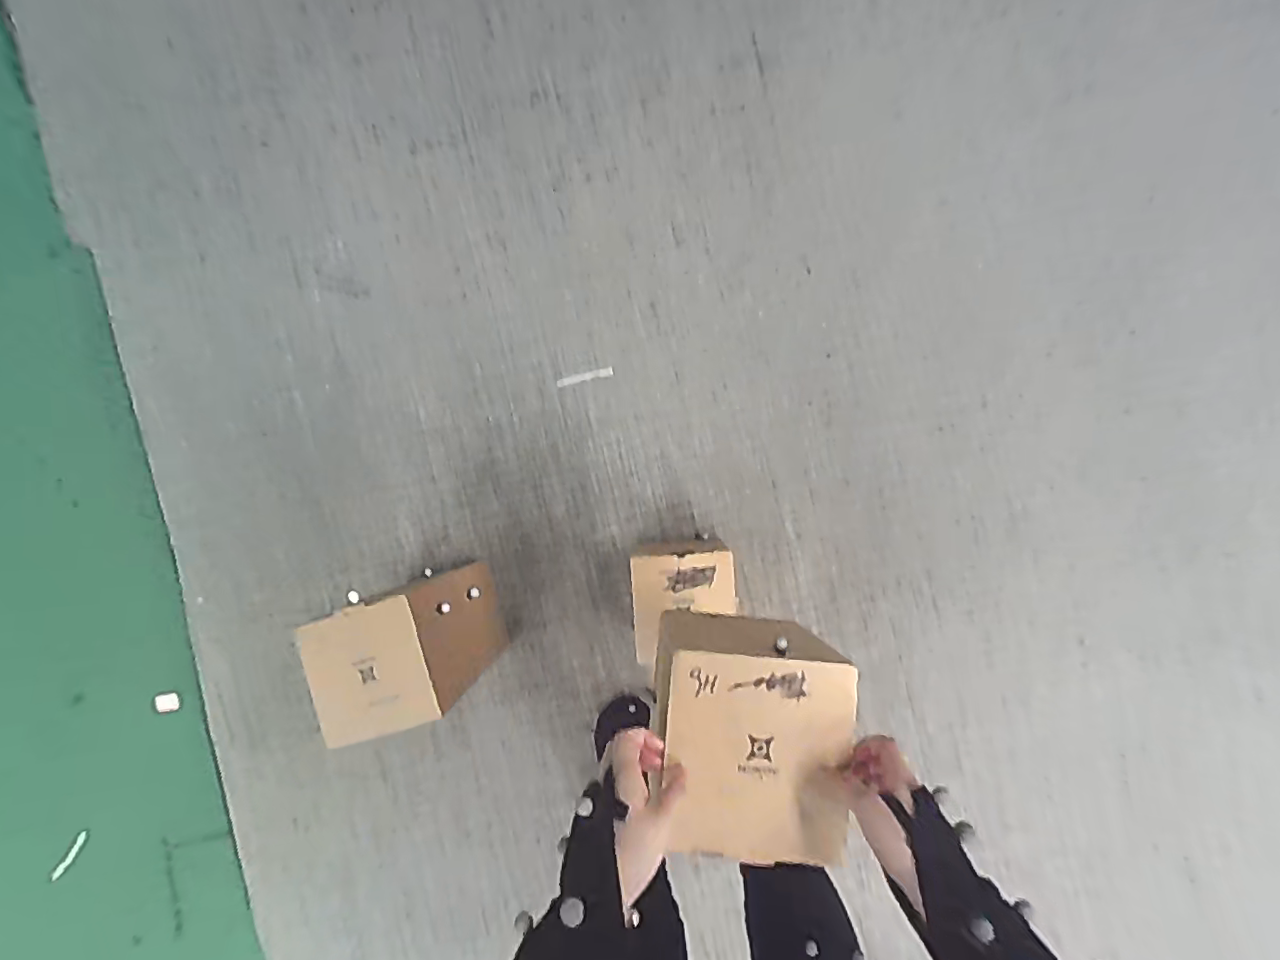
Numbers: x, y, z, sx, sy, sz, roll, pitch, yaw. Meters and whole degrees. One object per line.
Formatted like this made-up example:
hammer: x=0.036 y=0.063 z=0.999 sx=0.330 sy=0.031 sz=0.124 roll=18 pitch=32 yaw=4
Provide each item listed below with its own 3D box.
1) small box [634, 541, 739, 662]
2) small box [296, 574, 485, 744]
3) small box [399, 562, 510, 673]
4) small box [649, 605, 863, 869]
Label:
small box: x=0.076 y=0.200 z=0.936 sx=0.168 sy=0.176 sz=0.179 roll=-3 pitch=91 yaw=3
small box: x=-0.351 y=0.245 z=0.792 sx=0.168 sy=0.176 sz=0.179 roll=-17 pitch=90 yaw=4
small box: x=-0.349 y=0.252 z=0.954 sx=0.168 sy=0.176 sz=0.179 roll=-18 pitch=89 yaw=2
small box: x=0.099 y=0.236 z=0.538 sx=0.168 sy=0.176 sz=0.179 roll=6 pitch=88 yaw=-1
